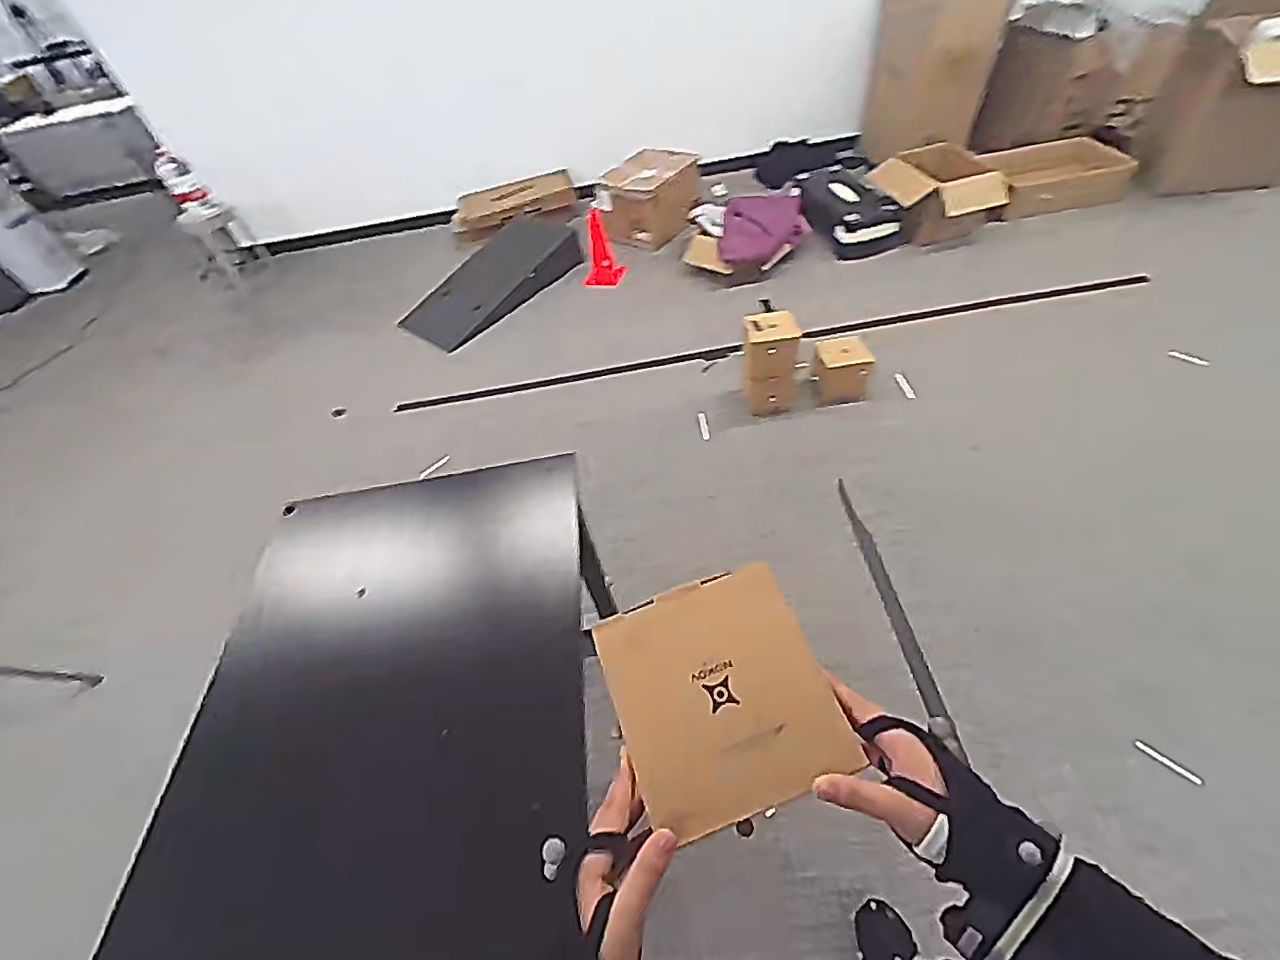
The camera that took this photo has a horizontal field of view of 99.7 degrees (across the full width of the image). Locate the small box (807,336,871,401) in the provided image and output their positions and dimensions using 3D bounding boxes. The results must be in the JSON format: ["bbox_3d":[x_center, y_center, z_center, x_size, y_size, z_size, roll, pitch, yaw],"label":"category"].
[{"bbox_3d":[0.765,-0.431,2.097,0.179,0.176,0.168,-10,49,1],"label":"small box"}]

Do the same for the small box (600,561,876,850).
[{"bbox_3d":[0.073,0.203,0.488,0.168,0.176,0.179,-19,60,-5],"label":"small box"}]

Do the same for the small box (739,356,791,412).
[{"bbox_3d":[0.483,-0.379,2.101,0.168,0.176,0.179,-8,50,4],"label":"small box"}]

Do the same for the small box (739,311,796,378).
[{"bbox_3d":[0.463,-0.491,1.980,0.179,0.176,0.168,-7,49,3],"label":"small box"}]
